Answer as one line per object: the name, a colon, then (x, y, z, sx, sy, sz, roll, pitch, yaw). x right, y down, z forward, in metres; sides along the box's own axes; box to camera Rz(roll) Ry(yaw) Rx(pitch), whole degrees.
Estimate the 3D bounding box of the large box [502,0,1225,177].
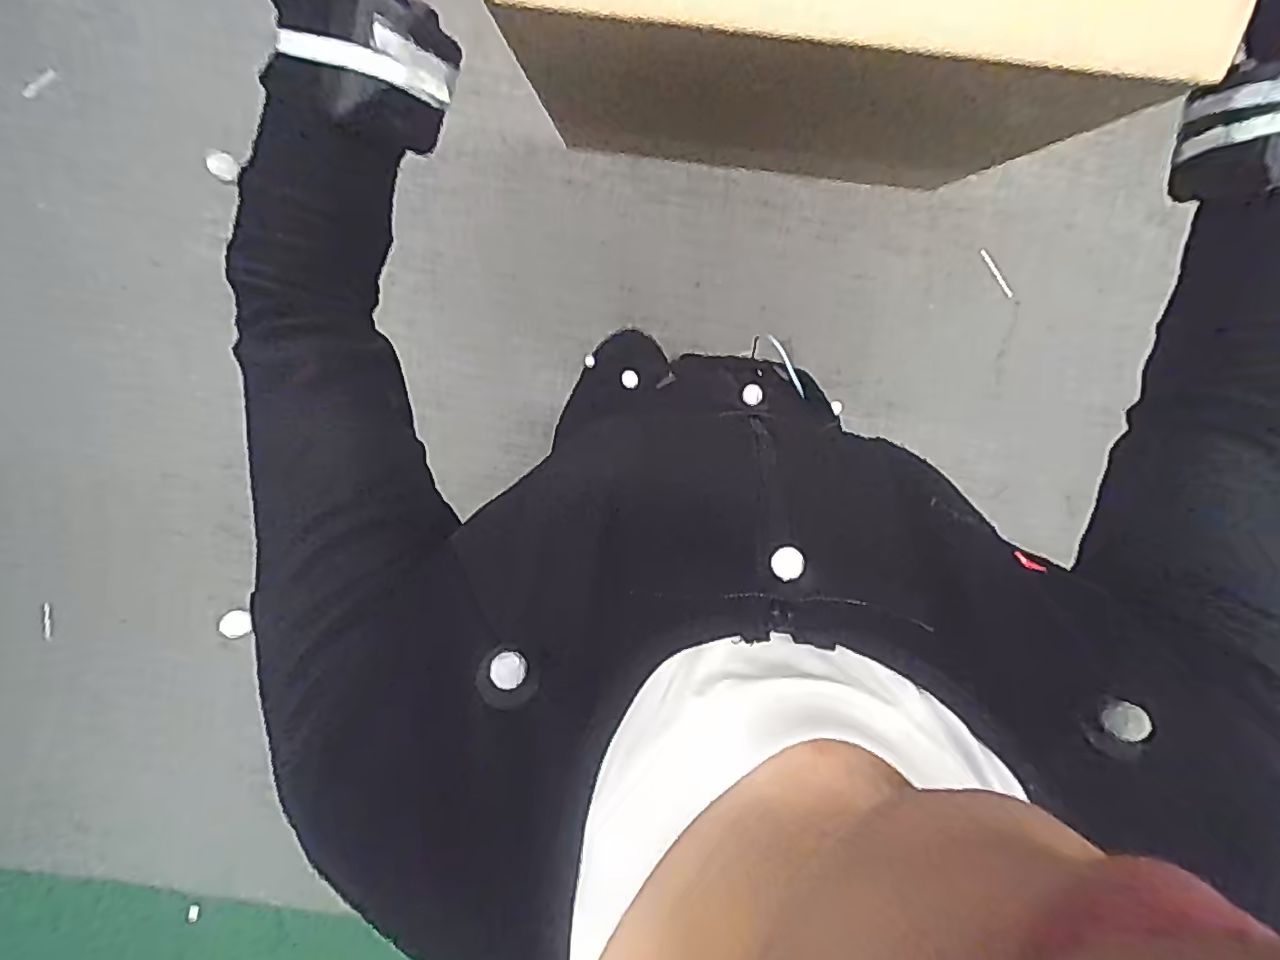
large box: (0.131, -0.438, 0.394, 0.408, 0.320, 0.320, 6, 109, 0)
